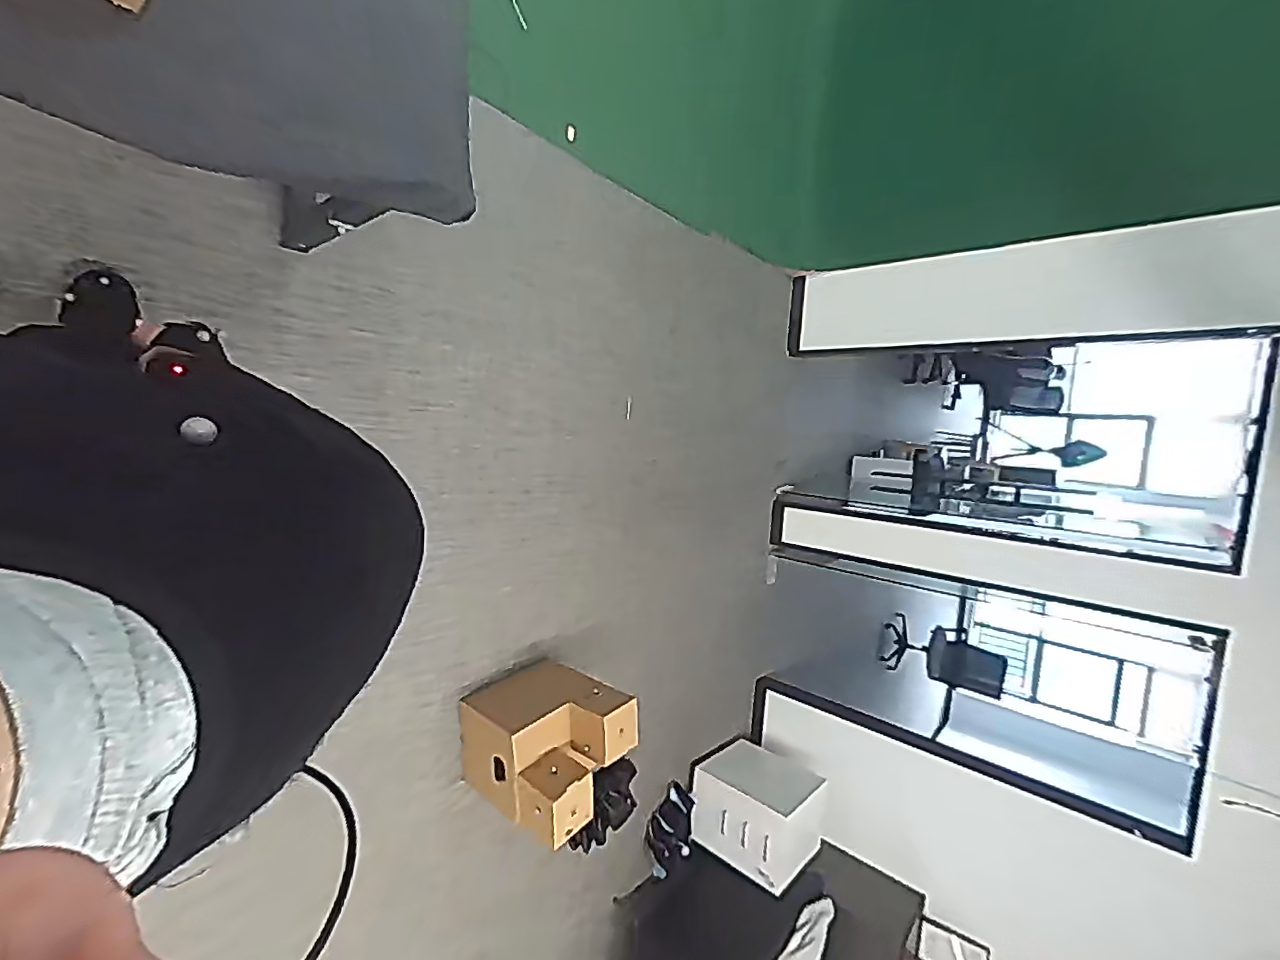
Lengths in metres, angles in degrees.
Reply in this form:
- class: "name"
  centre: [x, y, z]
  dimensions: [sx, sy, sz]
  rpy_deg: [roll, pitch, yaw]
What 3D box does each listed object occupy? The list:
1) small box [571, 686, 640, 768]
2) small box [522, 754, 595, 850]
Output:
- class: "small box"
  centre: [-0.120, 0.837, 1.852]
  dimensions: [0.168, 0.176, 0.179]
  rpy_deg: [-10, 100, -49]
- class: "small box"
  centre: [-0.260, 1.004, 1.712]
  dimensions: [0.168, 0.176, 0.179]
  rpy_deg: [-14, 108, -47]
